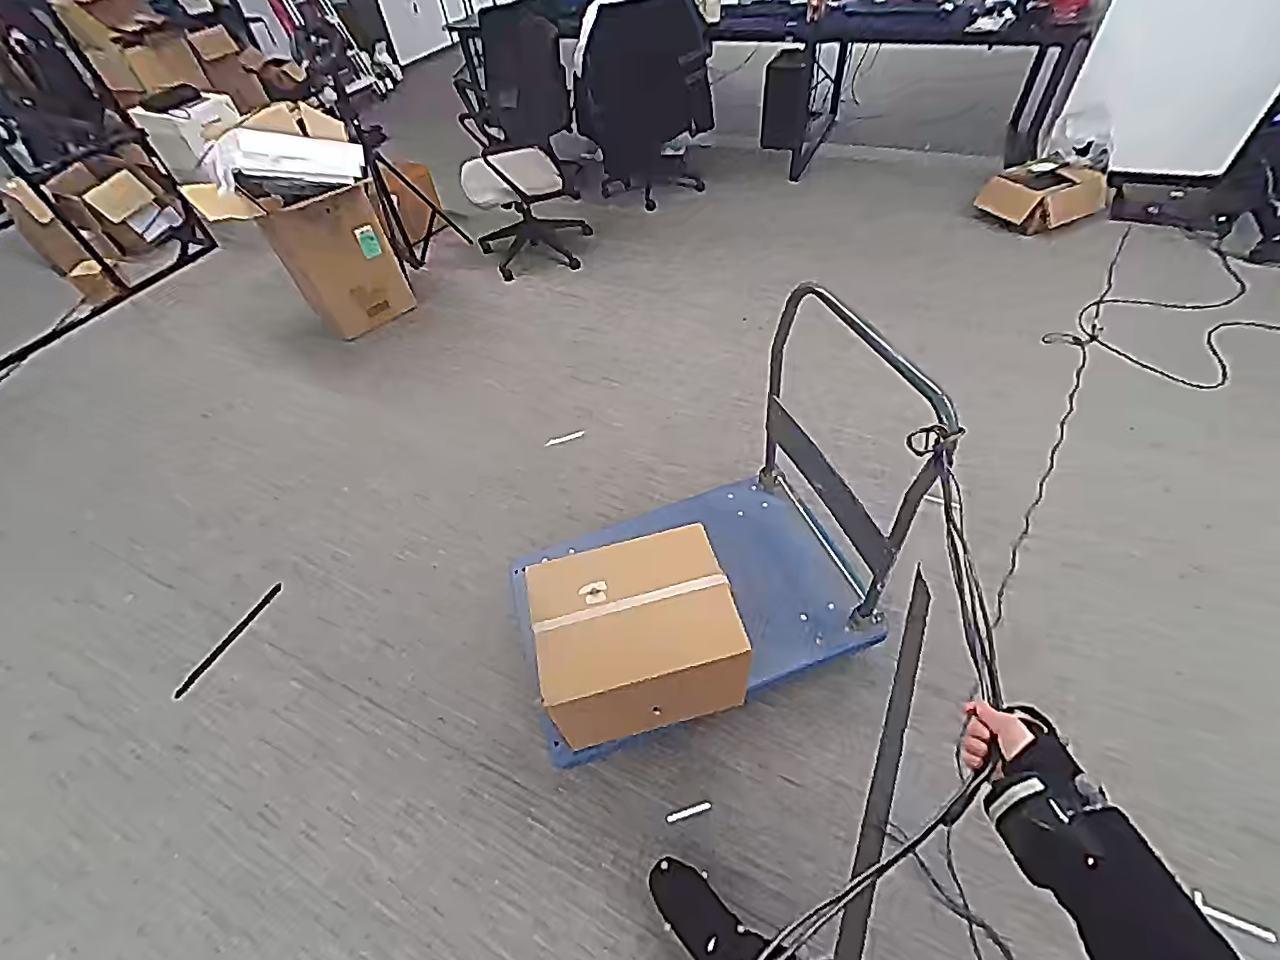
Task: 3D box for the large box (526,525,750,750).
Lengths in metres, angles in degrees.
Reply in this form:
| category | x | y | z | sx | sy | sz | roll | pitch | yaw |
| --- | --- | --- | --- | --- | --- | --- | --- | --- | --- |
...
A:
| category | x | y | z | sx | sy | sz | roll | pitch | yaw |
| --- | --- | --- | --- | --- | --- | --- | --- | --- | --- |
| large box | -0.004 | 0.353 | 1.202 | 0.408 | 0.320 | 0.320 | -14 | 49 | -5 |
